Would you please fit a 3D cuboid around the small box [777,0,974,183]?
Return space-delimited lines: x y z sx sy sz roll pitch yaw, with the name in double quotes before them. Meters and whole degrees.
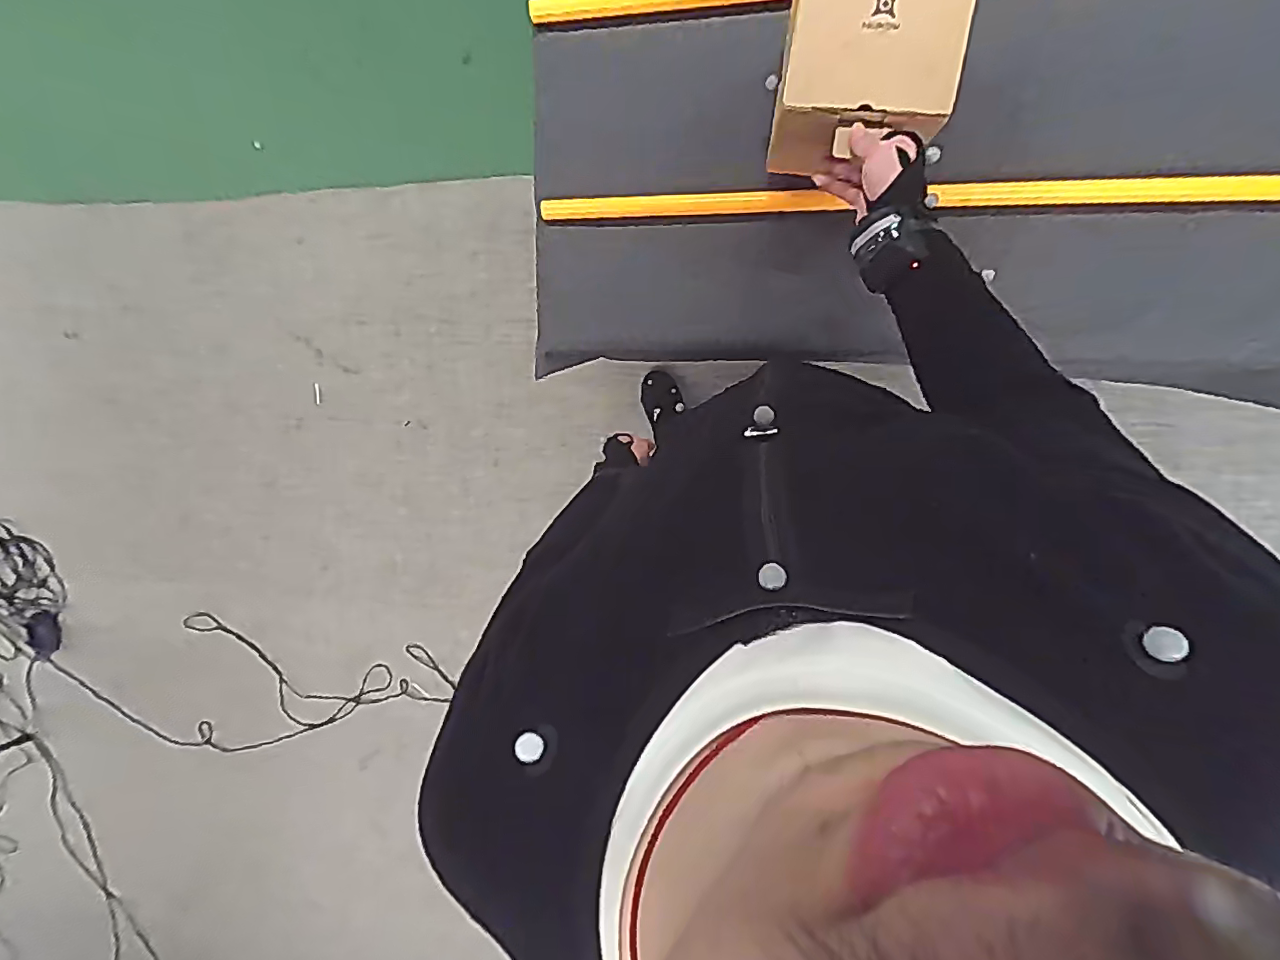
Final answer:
"small box" 0.252 -0.457 0.611 0.168 0.176 0.179 7 100 8
